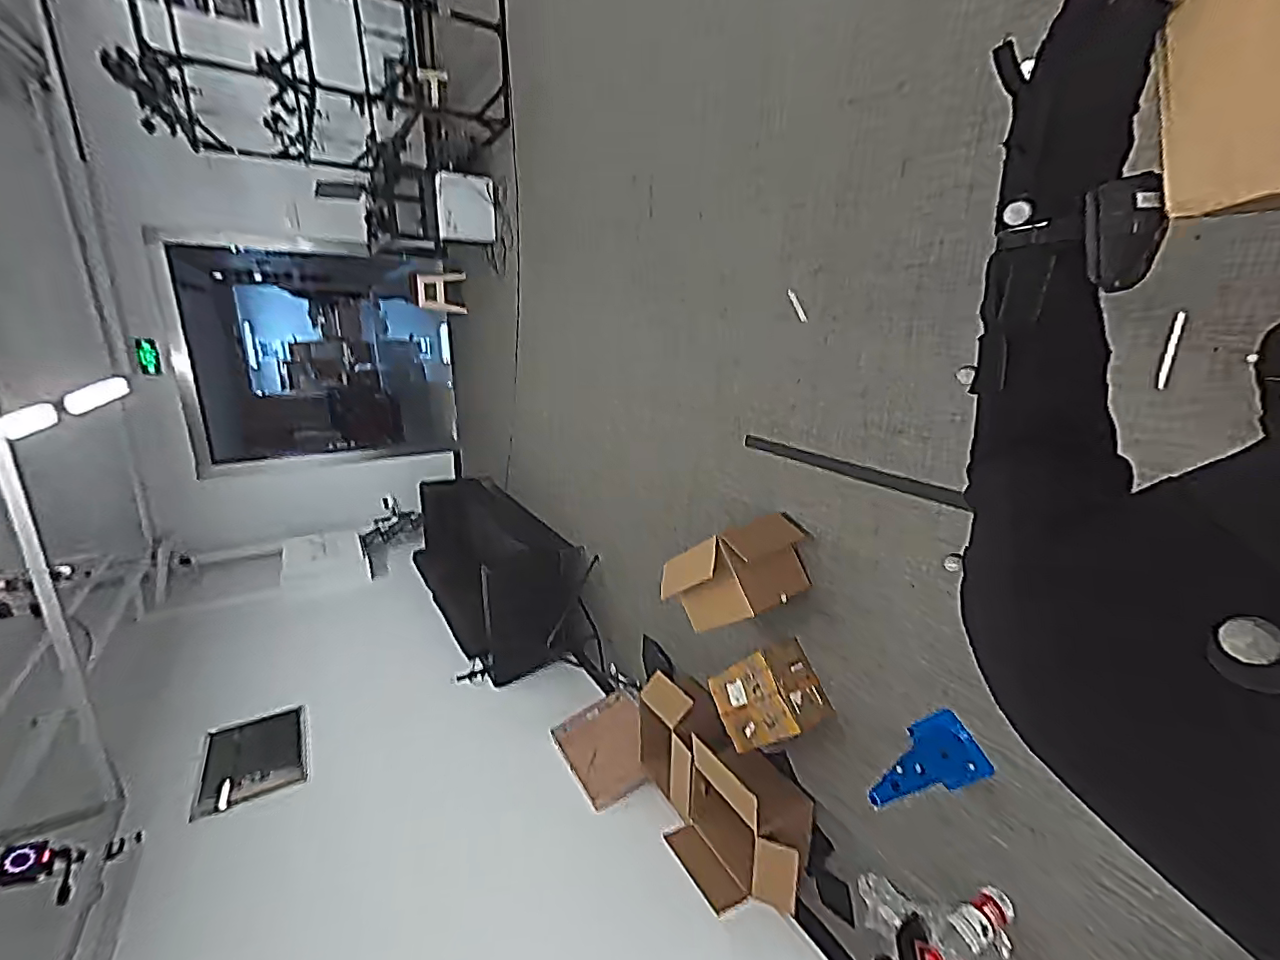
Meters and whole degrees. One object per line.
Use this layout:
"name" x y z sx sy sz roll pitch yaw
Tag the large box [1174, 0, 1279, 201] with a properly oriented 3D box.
"large box" 0.514 -0.343 0.200 0.408 0.320 0.320 4 109 59
